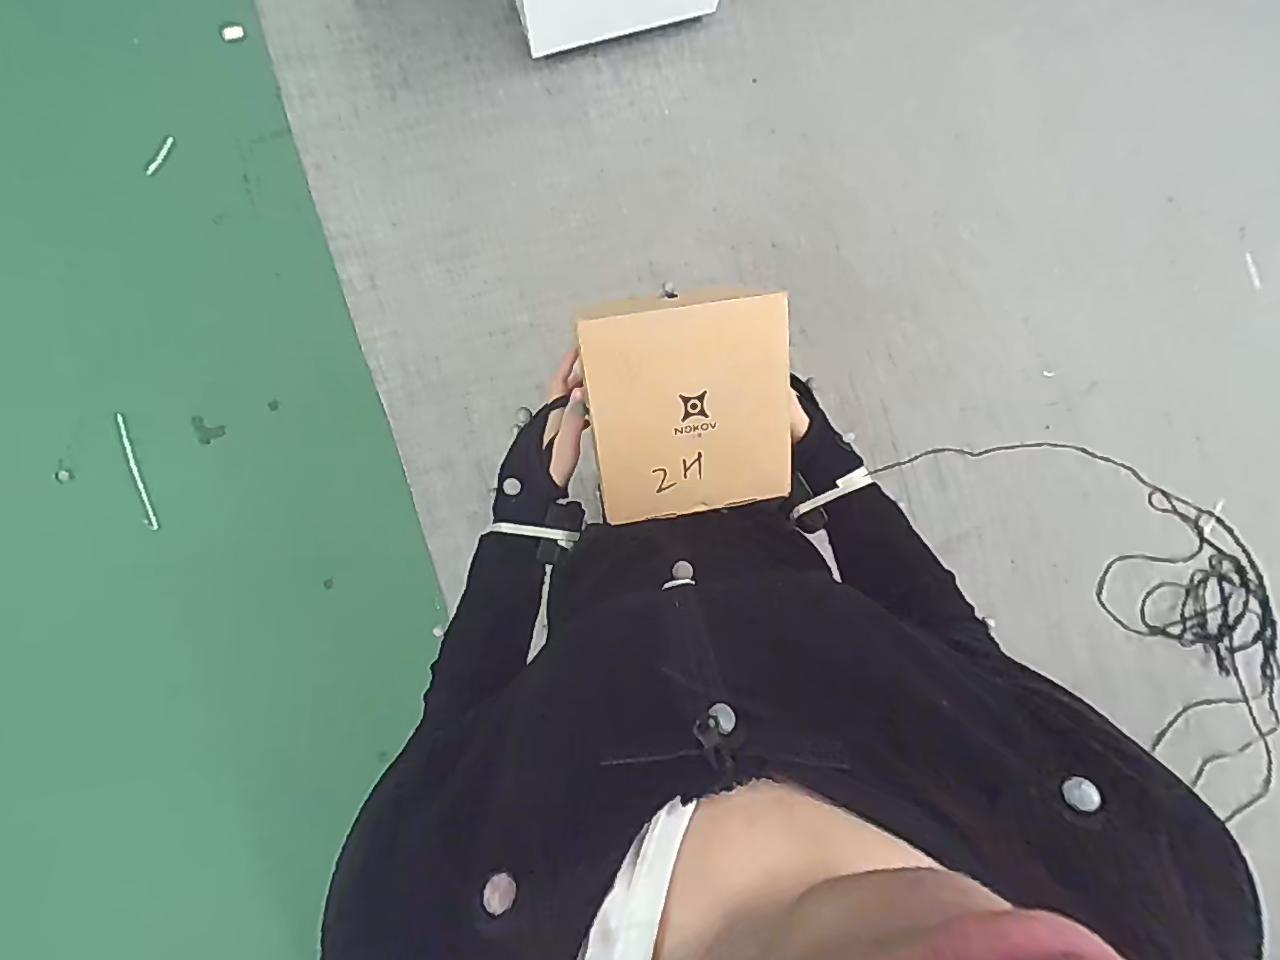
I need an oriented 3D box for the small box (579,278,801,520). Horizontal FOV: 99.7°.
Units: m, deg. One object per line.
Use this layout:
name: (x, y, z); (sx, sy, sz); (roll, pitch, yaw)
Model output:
small box: (0.036, -0.085, 0.498); (0.168, 0.176, 0.179); (-8, 112, -4)
